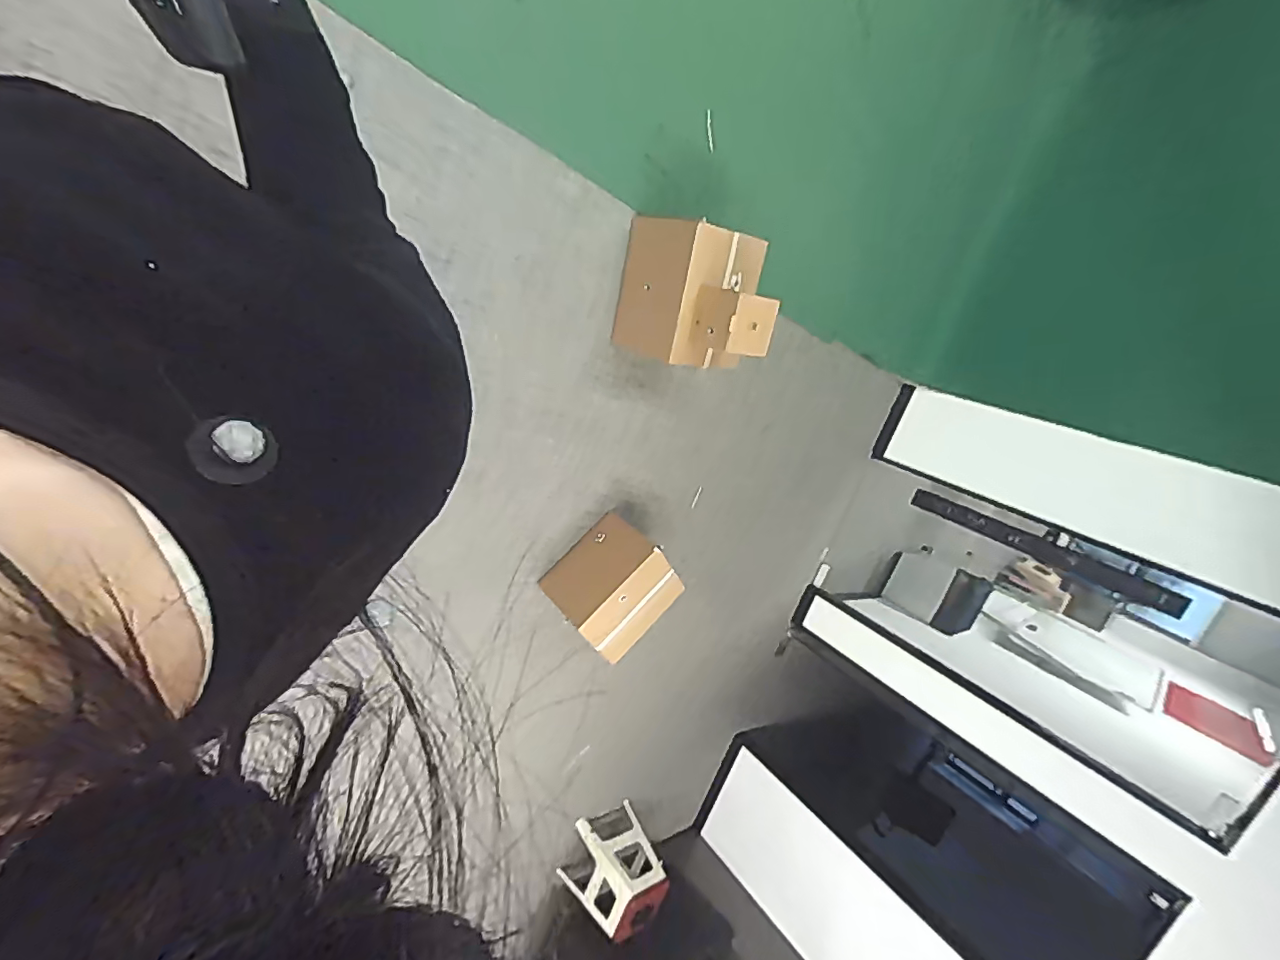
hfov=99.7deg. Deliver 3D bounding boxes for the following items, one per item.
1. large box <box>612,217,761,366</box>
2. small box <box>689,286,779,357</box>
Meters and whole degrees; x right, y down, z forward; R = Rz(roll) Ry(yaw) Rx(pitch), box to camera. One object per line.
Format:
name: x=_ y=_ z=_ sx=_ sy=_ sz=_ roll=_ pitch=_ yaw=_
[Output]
large box: x=0.138 y=-0.602 z=1.752 sx=0.320 sy=0.320 sz=0.408 roll=-7 pitch=116 yaw=-40
small box: x=0.270 y=-0.468 z=1.588 sx=0.179 sy=0.176 sz=0.168 roll=-5 pitch=117 yaw=-39
